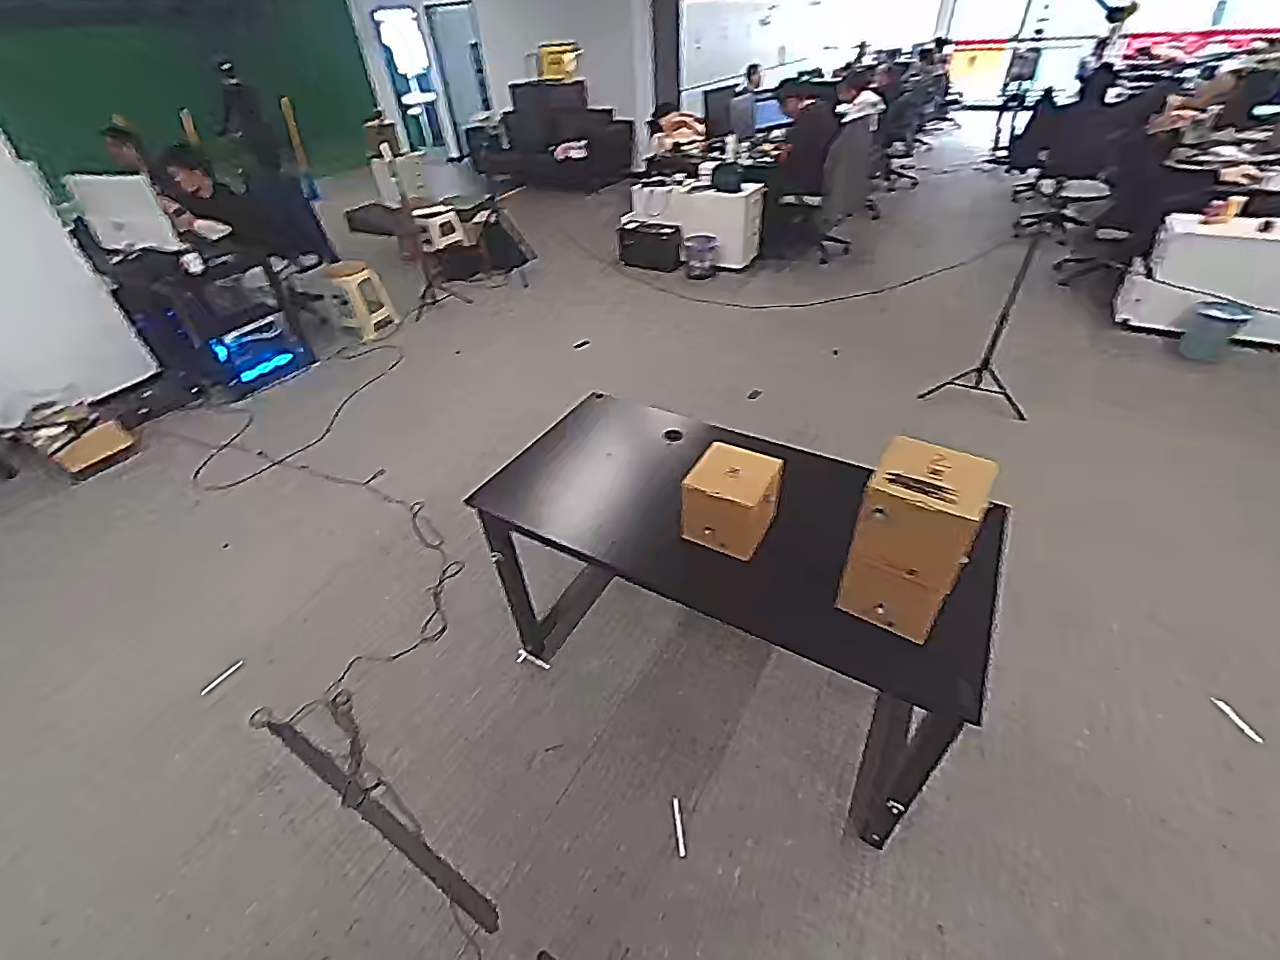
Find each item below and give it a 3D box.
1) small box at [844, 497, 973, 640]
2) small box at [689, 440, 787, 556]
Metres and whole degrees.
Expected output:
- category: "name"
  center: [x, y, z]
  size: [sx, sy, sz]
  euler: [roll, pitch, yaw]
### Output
- category: "small box"
  center: [0.514, 0.170, 1.049]
  size: [0.168, 0.176, 0.179]
  euler: [22, 47, 29]
- category: "small box"
  center: [0.218, 0.040, 1.233]
  size: [0.168, 0.176, 0.179]
  euler: [19, 46, 25]
